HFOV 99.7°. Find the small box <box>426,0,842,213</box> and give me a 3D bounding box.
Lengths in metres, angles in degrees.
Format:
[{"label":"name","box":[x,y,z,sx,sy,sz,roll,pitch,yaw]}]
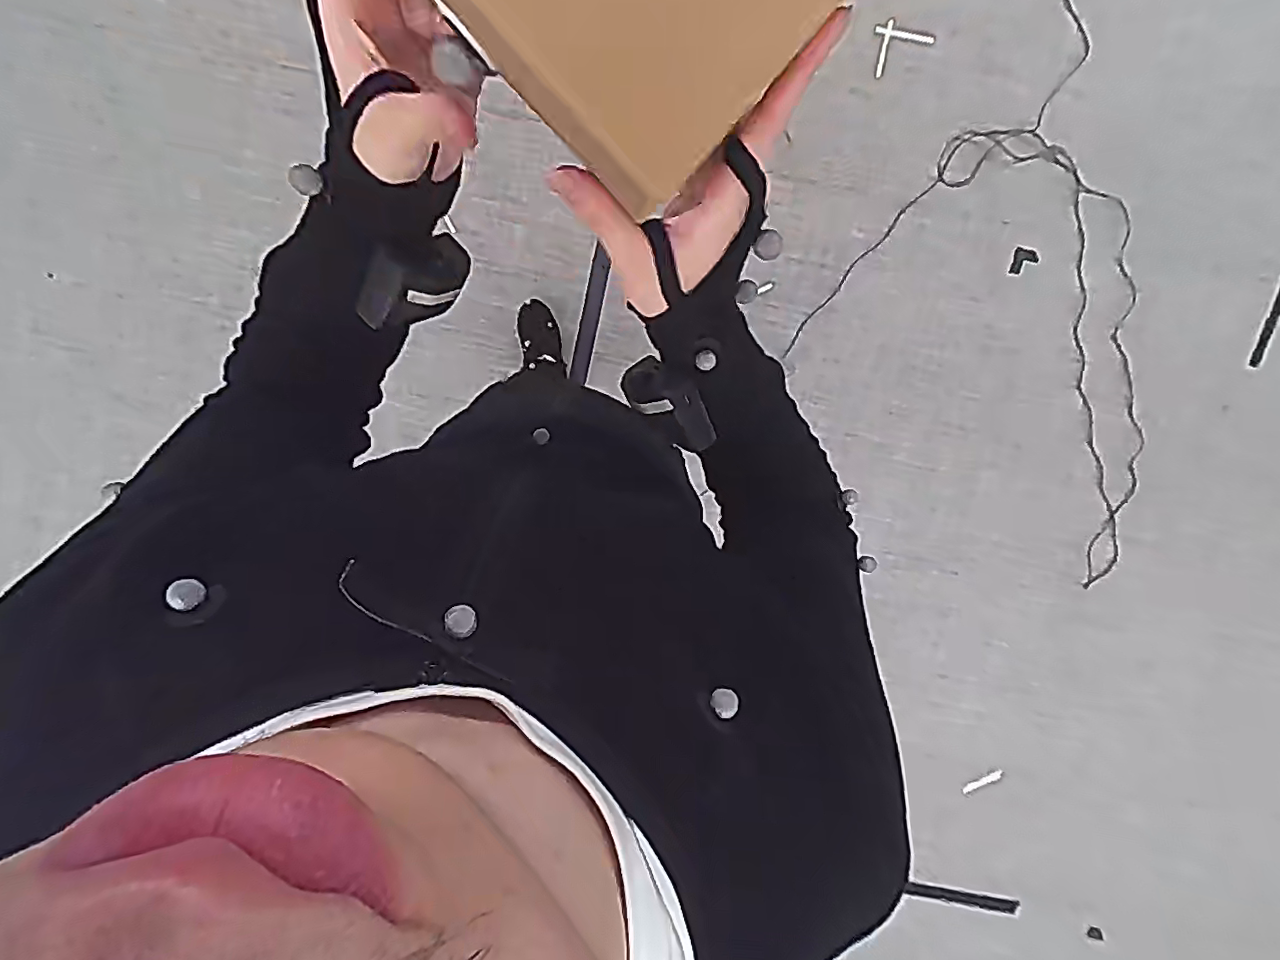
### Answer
[{"label":"small box","box":[0.004,-0.212,0.163,0.168,0.176,0.179,40,107,-16]}]
